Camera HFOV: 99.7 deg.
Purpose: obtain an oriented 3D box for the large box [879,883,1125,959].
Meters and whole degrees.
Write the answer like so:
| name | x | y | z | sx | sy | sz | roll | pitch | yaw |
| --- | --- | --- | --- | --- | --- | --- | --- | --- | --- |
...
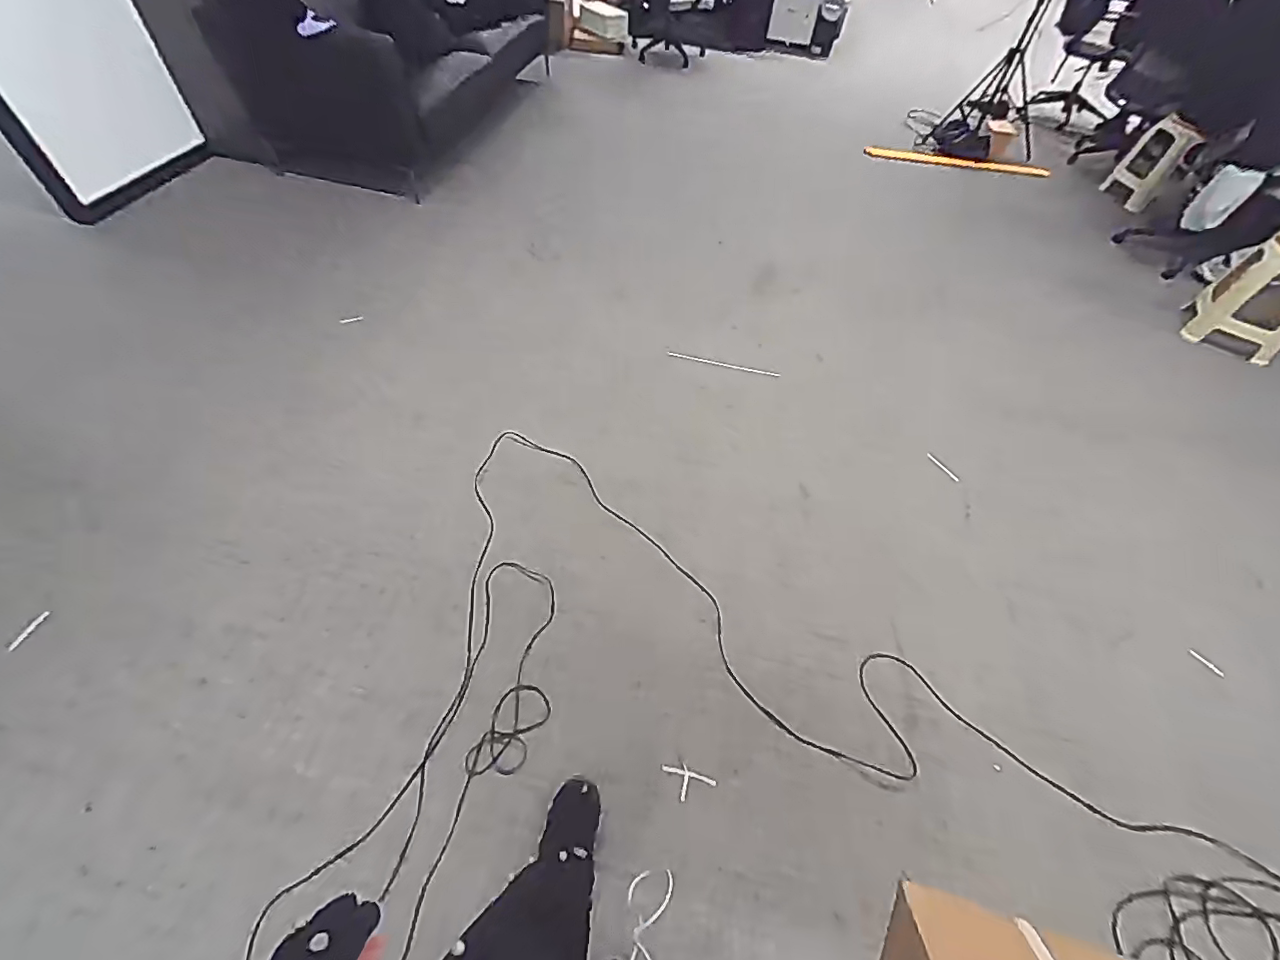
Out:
| name | x | y | z | sx | sy | sz | roll | pitch | yaw |
| --- | --- | --- | --- | --- | --- | --- | --- | --- | --- |
| large box | 0.448 | 0.761 | 0.566 | 0.320 | 0.408 | 0.320 | 14 | 93 | 11 |
